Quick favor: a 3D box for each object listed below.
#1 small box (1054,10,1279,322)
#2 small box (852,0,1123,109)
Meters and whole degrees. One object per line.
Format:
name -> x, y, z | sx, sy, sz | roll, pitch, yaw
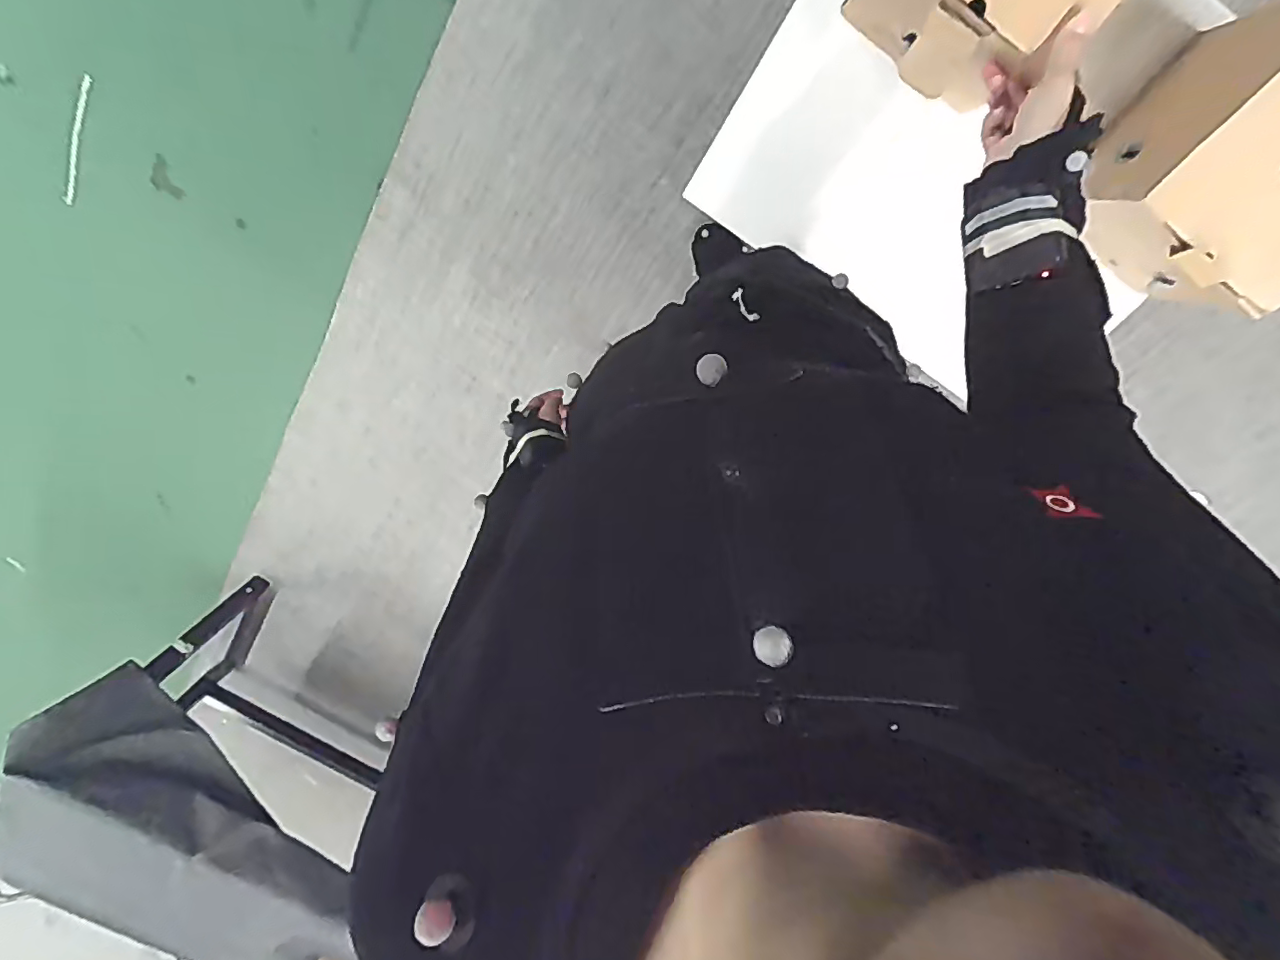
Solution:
small box -> 0.527, -0.276, 0.489 | 0.168, 0.176, 0.179 | 33, 116, -10
small box -> 0.300, -0.441, 0.434 | 0.168, 0.176, 0.179 | 32, 118, -9
